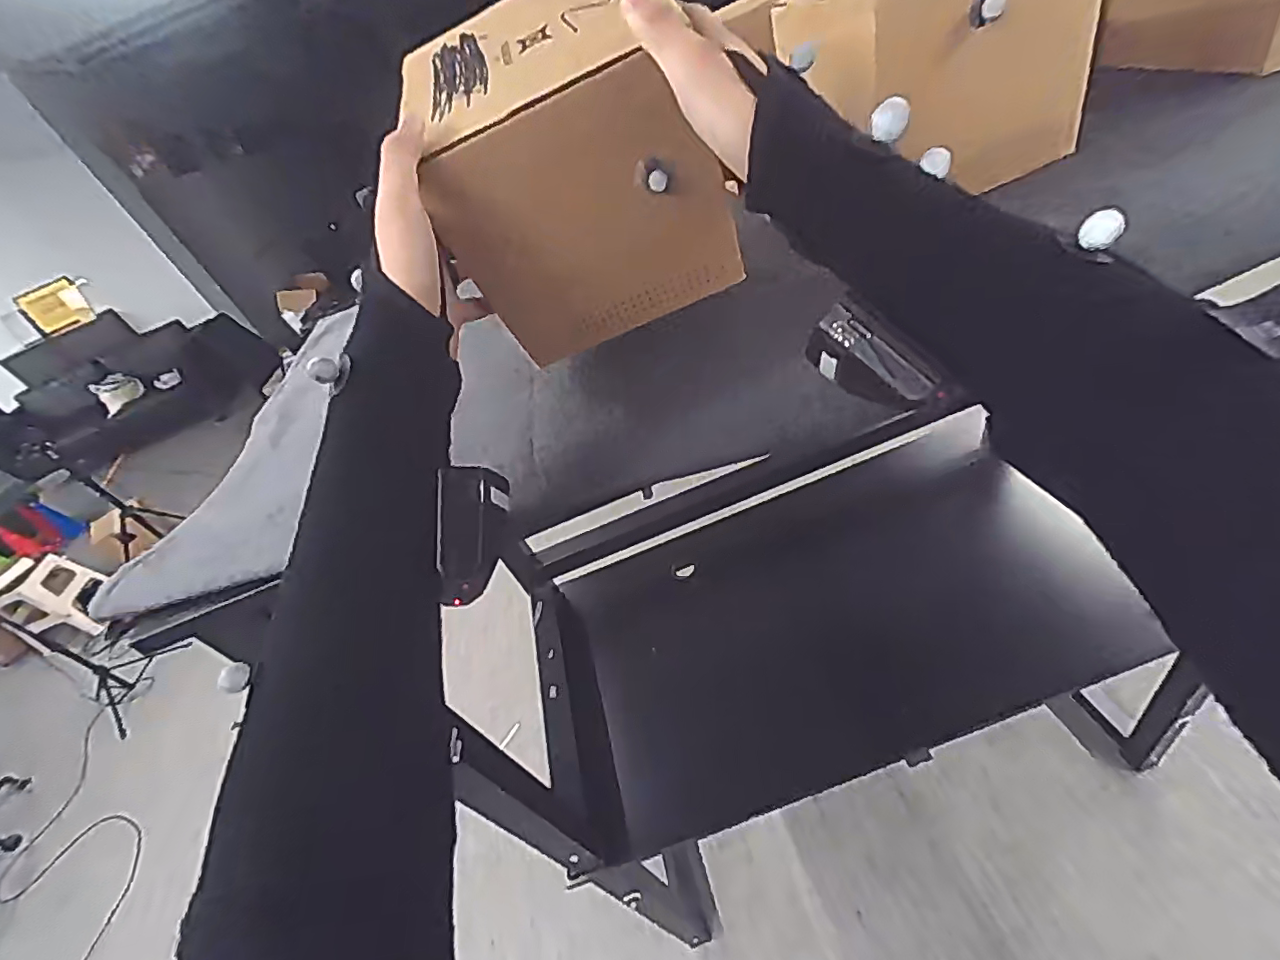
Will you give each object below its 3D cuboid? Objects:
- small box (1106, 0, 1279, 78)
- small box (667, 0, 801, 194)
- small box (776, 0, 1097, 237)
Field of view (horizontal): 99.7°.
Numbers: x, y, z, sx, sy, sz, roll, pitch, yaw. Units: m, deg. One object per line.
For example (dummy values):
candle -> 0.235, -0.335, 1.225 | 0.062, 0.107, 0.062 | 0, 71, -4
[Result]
small box -> 0.540, -0.459, 0.444 | 0.168, 0.176, 0.179 | -19, 39, 7
small box -> 0.149, -0.473, 0.657 | 0.168, 0.176, 0.179 | -23, 40, 2
small box -> 0.239, -0.339, 0.463 | 0.179, 0.176, 0.168 | -23, 39, 2
